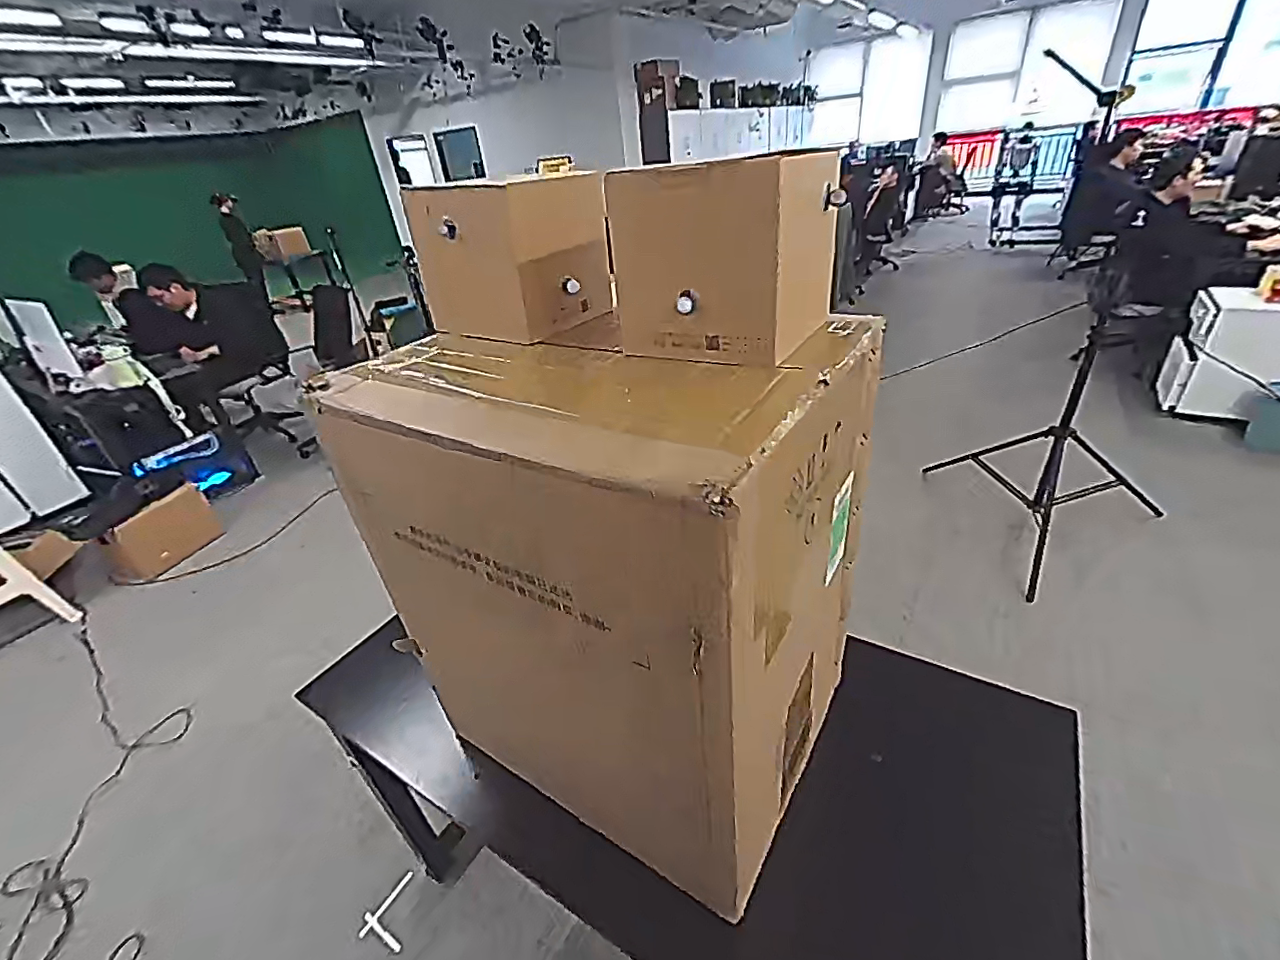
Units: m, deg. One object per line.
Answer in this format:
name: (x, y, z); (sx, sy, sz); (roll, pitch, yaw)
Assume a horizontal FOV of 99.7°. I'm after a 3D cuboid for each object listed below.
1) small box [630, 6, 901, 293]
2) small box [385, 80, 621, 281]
small box: (0.109, -0.267, 0.462); (0.168, 0.176, 0.179); (12, 35, 29)
small box: (-0.138, -0.323, 0.596); (0.179, 0.176, 0.168); (16, 38, 29)
